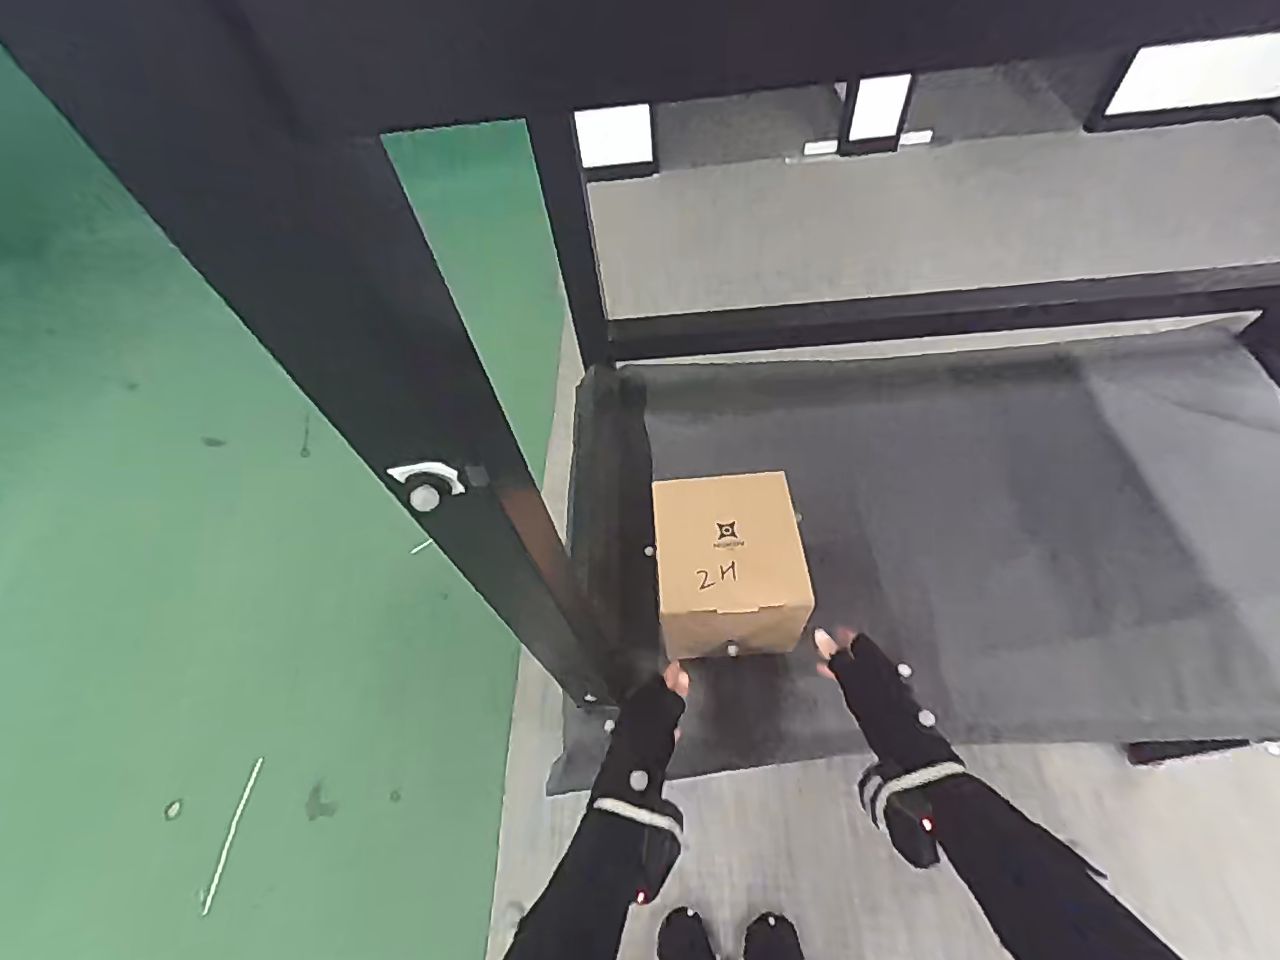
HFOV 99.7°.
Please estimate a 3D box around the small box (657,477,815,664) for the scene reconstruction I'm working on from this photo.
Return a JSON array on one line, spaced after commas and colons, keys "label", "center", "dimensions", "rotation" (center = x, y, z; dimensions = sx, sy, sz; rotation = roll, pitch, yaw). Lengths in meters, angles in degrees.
[{"label": "small box", "center": [0.109, 0.119, 0.688], "dimensions": [0.168, 0.176, 0.179], "rotation": [-5, 54, 3]}]
